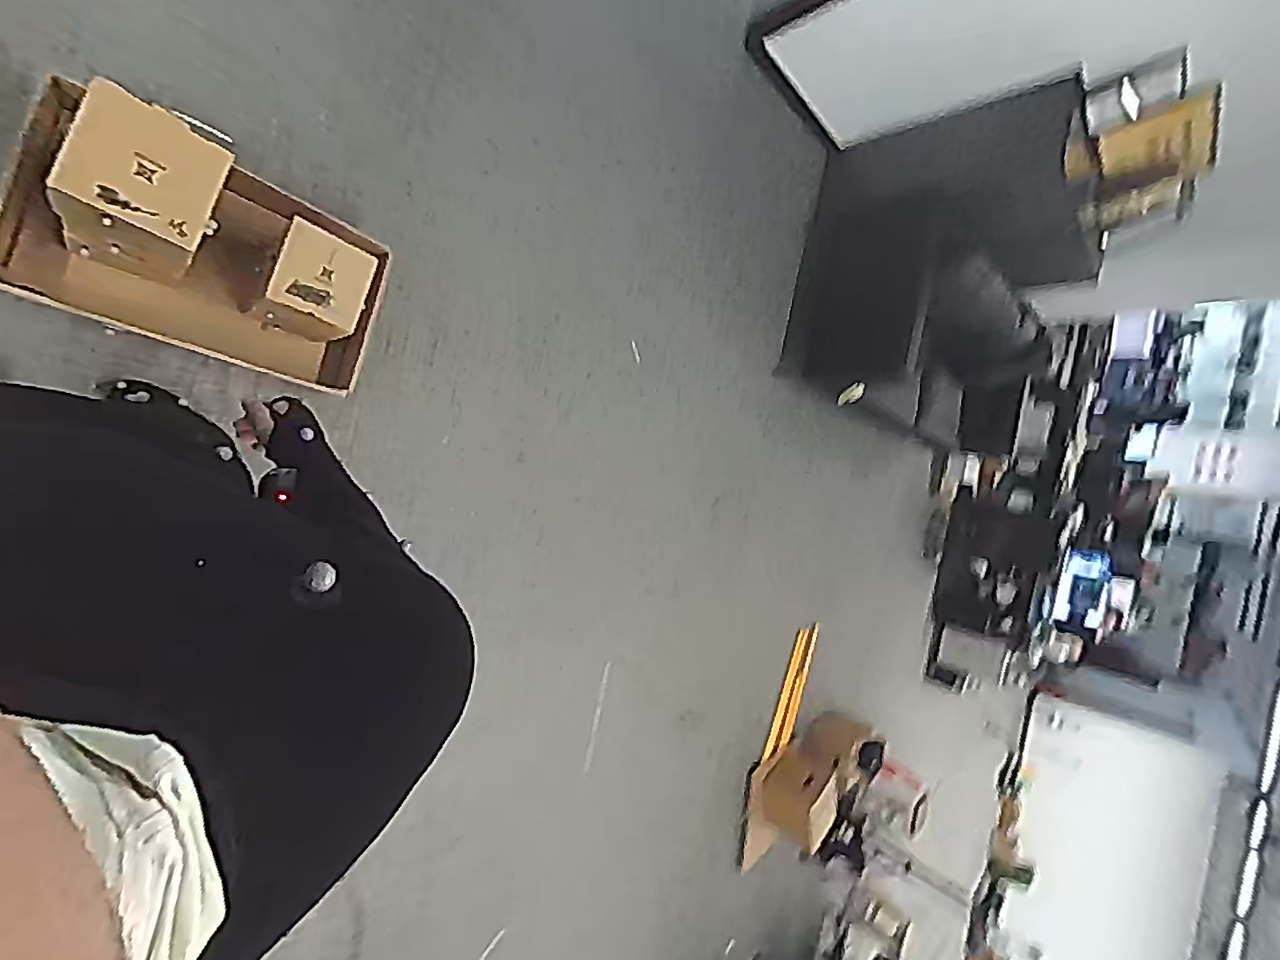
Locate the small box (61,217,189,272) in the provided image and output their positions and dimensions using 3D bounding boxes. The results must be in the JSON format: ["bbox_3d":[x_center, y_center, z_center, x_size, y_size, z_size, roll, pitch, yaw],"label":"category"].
[{"bbox_3d":[-0.888,-0.495,0.956,0.168,0.176,0.179,20,83,-46],"label":"small box"}]

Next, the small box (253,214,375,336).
[{"bbox_3d":[-0.699,-0.422,1.152,0.168,0.176,0.179,22,81,-43],"label":"small box"}]

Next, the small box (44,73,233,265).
[{"bbox_3d":[-0.775,-0.464,0.839,0.168,0.176,0.179,24,79,-45],"label":"small box"}]
